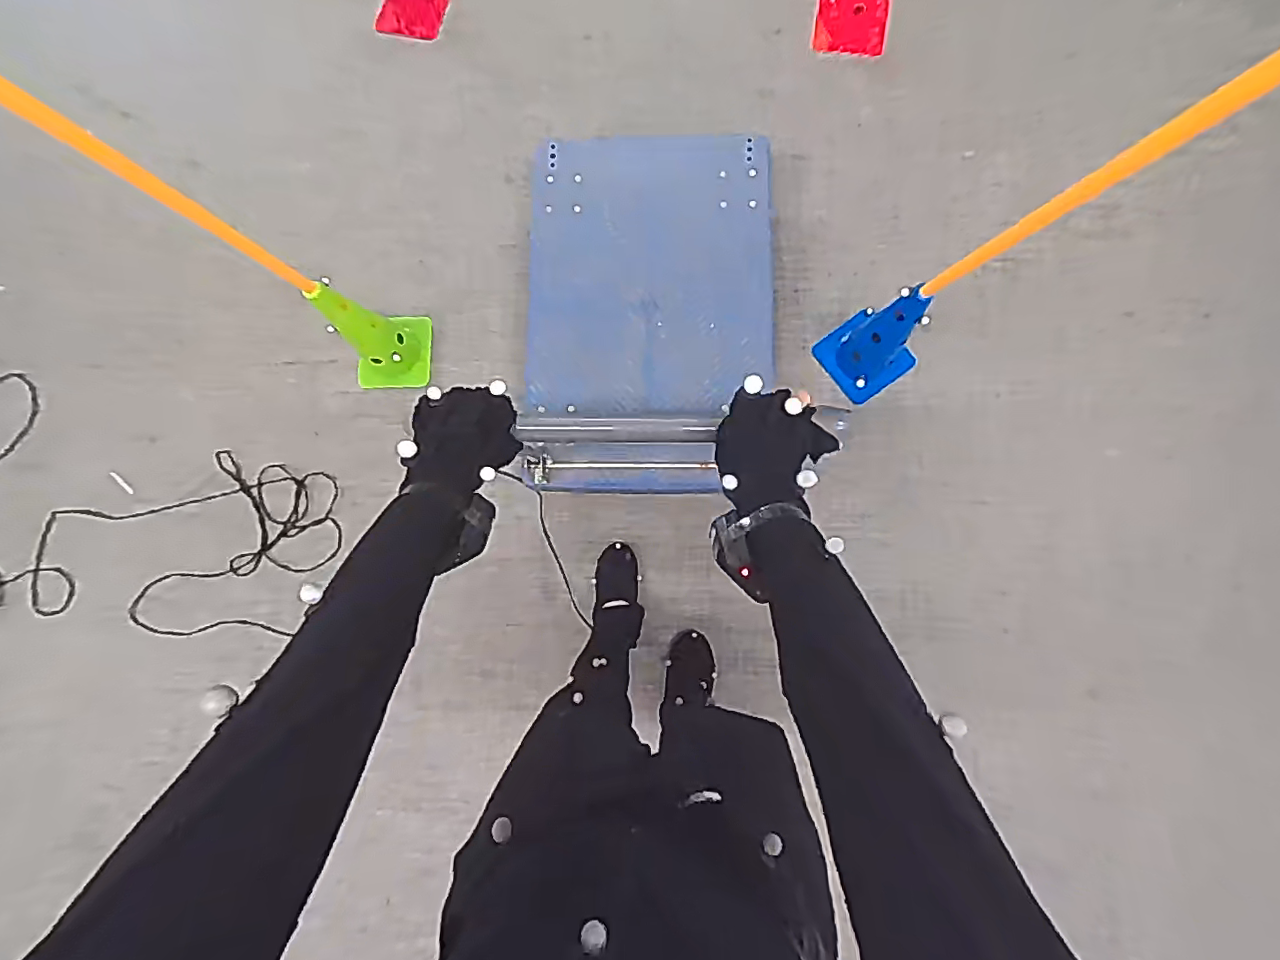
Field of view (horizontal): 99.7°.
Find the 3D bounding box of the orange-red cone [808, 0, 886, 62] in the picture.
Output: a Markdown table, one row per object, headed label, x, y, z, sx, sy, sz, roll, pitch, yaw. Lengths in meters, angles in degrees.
| label | x | y | z | sx | sy | sz | roll | pitch | yaw |
| --- | --- | --- | --- | --- | --- | --- | --- | --- | --- |
| orange-red cone | 0.578 | -1.307 | 1.370 | 0.198 | 0.360 | 0.199 | 11 | 83 | 6 |
